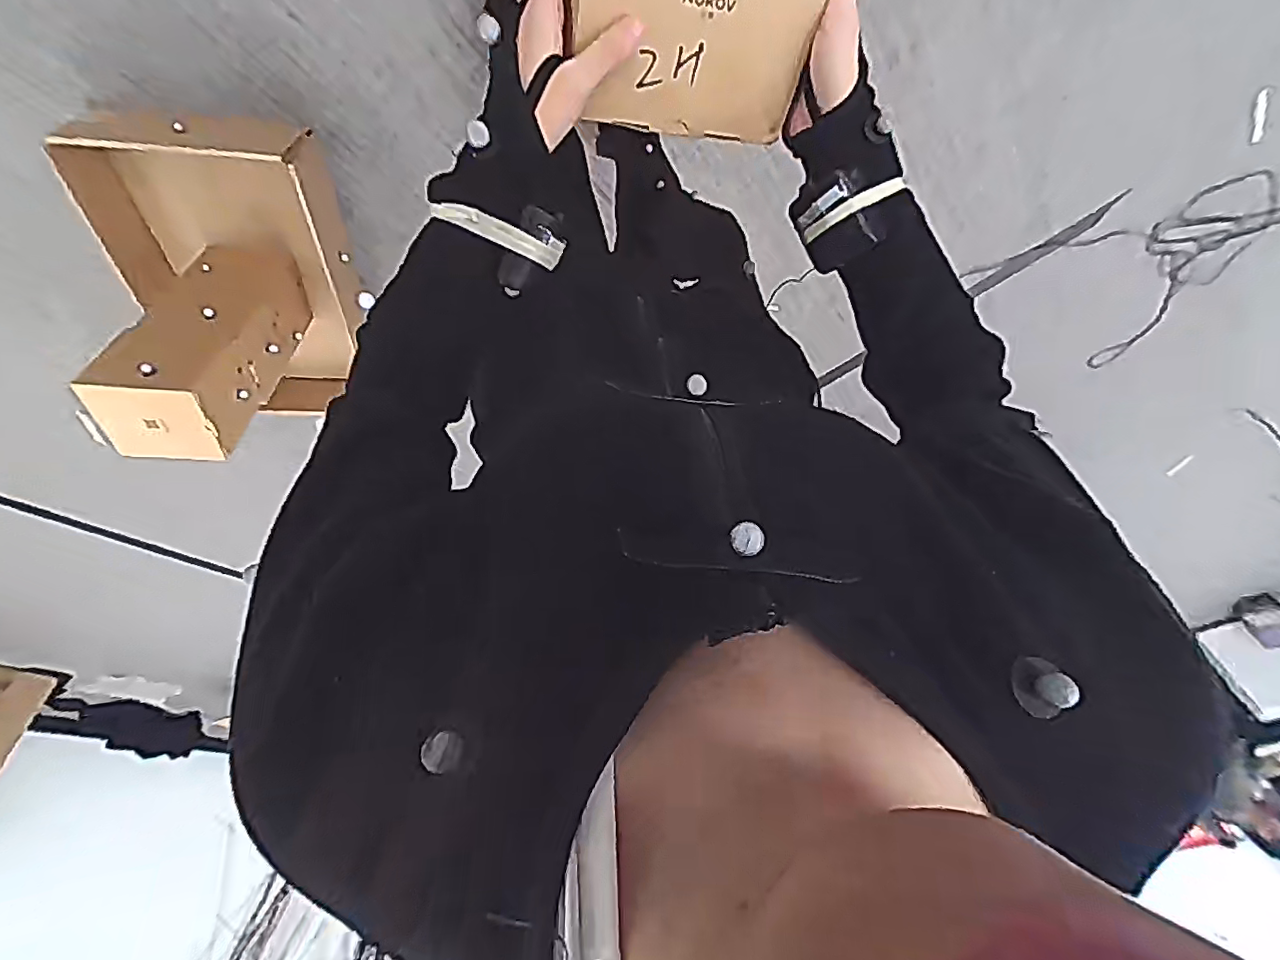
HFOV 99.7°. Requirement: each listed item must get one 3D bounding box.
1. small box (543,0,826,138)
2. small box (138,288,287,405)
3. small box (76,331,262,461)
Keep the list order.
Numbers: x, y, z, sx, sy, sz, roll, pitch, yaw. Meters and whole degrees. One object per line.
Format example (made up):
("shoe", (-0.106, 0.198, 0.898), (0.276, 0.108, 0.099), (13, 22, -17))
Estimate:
("small box", (0.027, -0.380, 0.382), (0.168, 0.176, 0.179), (-4, 142, -18))
("small box", (-0.849, -0.272, 1.100), (0.179, 0.176, 0.168), (2, 137, -13))
("small box", (-0.838, -0.155, 0.987), (0.179, 0.176, 0.168), (2, 137, -12))
